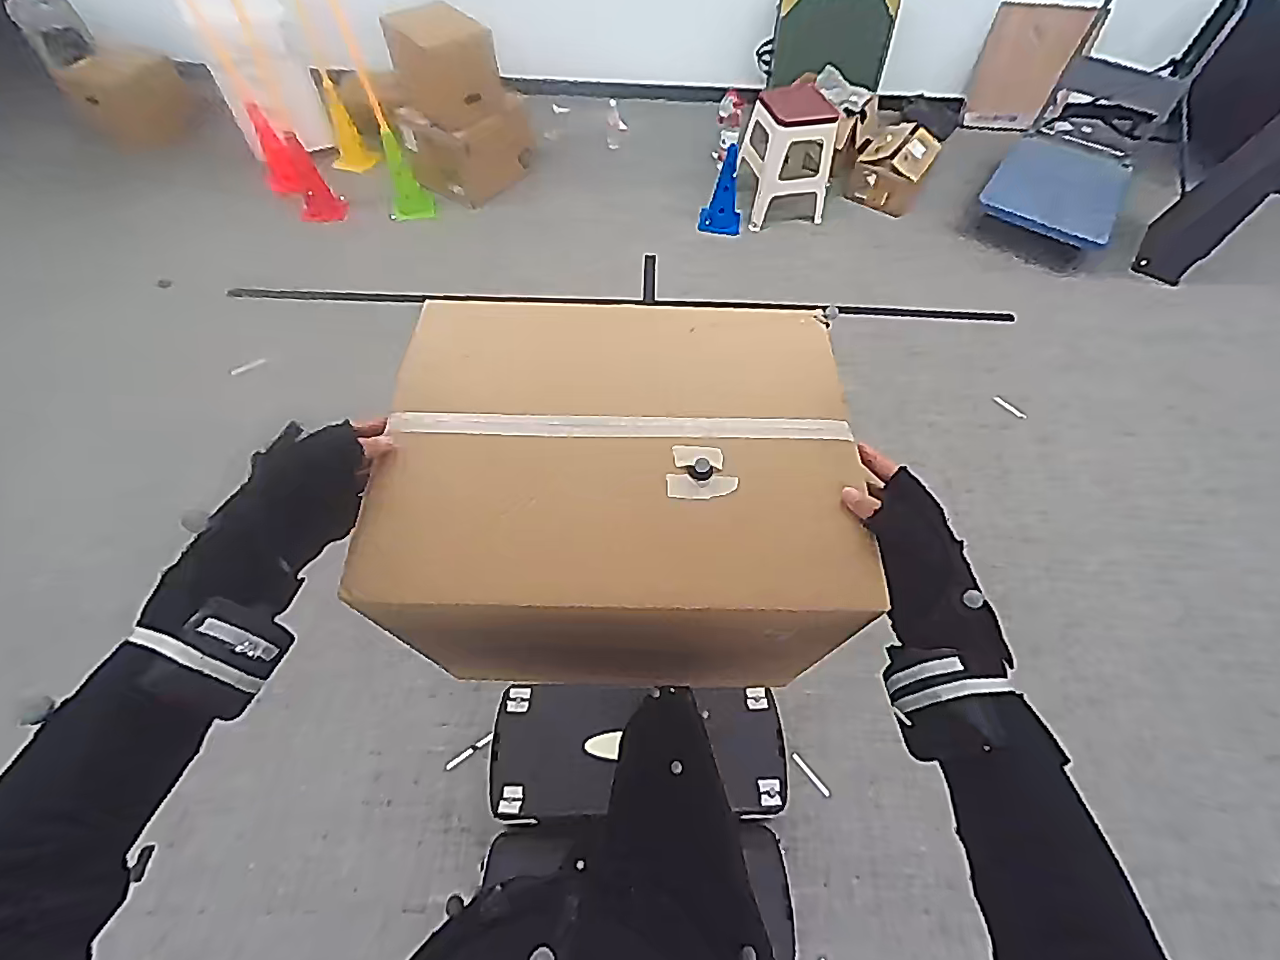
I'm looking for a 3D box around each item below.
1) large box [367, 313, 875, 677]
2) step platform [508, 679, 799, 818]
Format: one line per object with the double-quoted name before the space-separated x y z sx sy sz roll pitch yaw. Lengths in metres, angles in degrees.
"large box" -0.018 0.037 0.619 0.408 0.320 0.320 2 60 -1
"step platform" 0.029 0.646 1.312 0.684 0.204 0.286 1 57 -3
